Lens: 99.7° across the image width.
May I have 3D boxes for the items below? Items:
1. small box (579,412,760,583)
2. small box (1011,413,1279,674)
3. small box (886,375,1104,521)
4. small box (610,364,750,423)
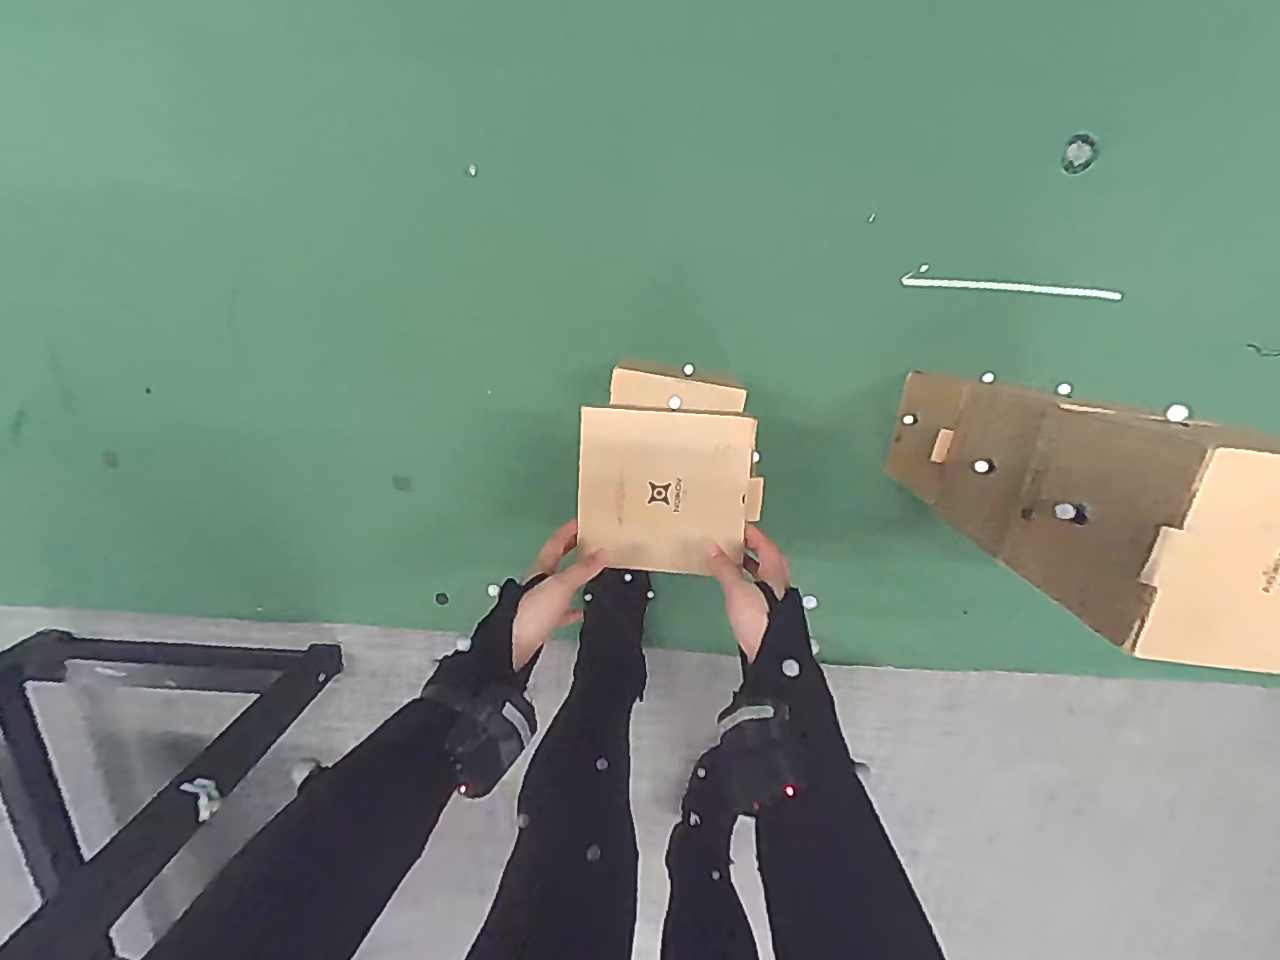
[{"bbox_3d":[0.033,0.009,0.616,0.179,0.176,0.168,3,97,5],"label":"small box"},{"bbox_3d":[0.464,0.041,0.458,0.179,0.176,0.168,6,107,1],"label":"small box"},{"bbox_3d":[0.487,-0.052,0.773,0.179,0.176,0.168,7,107,0],"label":"small box"},{"bbox_3d":[0.045,-0.069,0.781,0.179,0.176,0.168,9,107,-1],"label":"small box"}]
